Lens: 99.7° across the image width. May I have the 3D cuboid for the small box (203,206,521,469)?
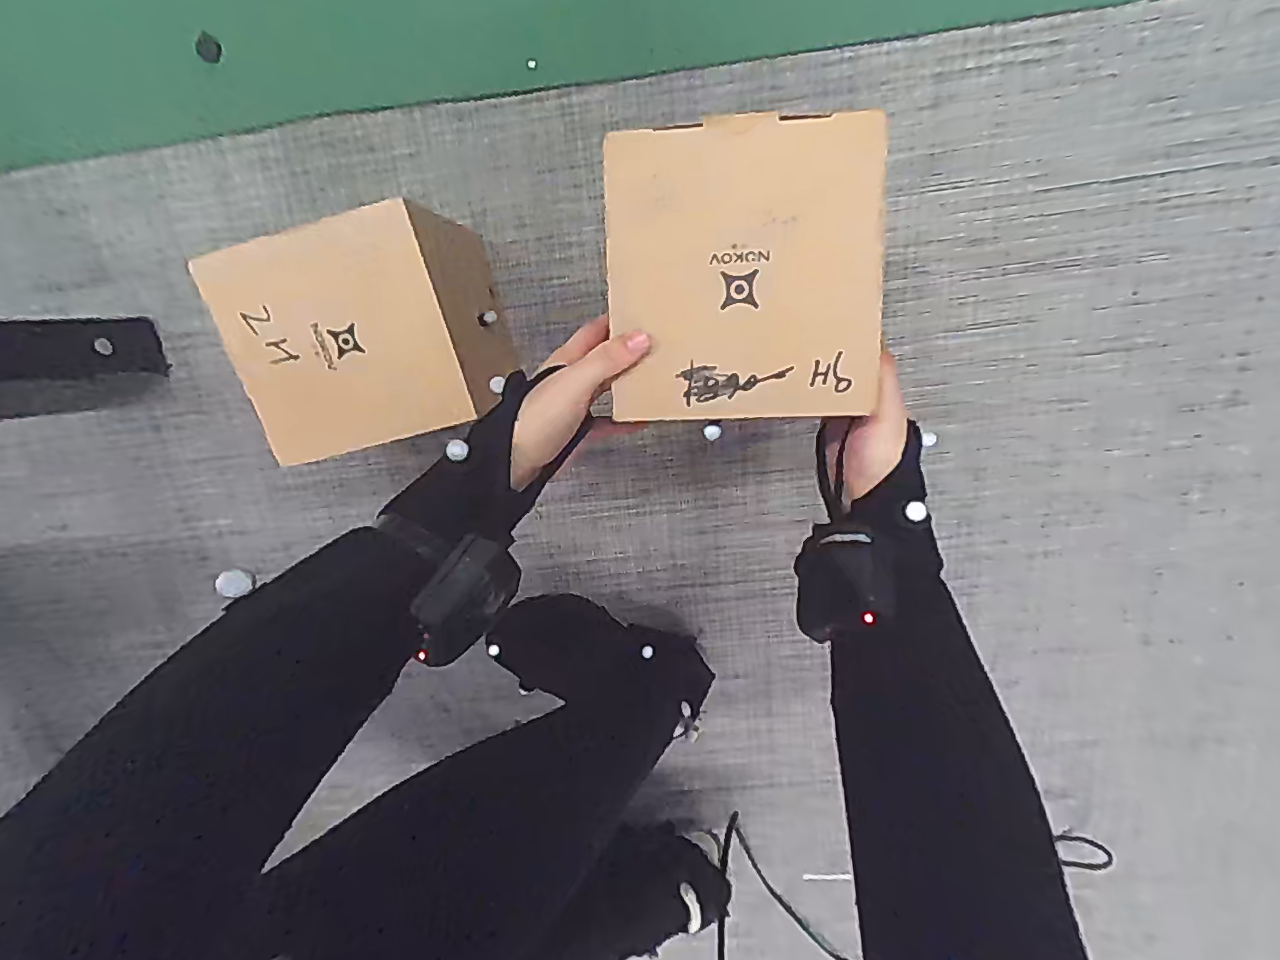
[{"bbox_3d":[-0.219,-0.126,0.489,0.179,0.176,0.168,-13,105,6],"label":"small box"}]

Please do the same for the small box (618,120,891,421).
[{"bbox_3d":[0.074,-0.134,0.412,0.168,0.176,0.179,-1,97,6],"label":"small box"}]
